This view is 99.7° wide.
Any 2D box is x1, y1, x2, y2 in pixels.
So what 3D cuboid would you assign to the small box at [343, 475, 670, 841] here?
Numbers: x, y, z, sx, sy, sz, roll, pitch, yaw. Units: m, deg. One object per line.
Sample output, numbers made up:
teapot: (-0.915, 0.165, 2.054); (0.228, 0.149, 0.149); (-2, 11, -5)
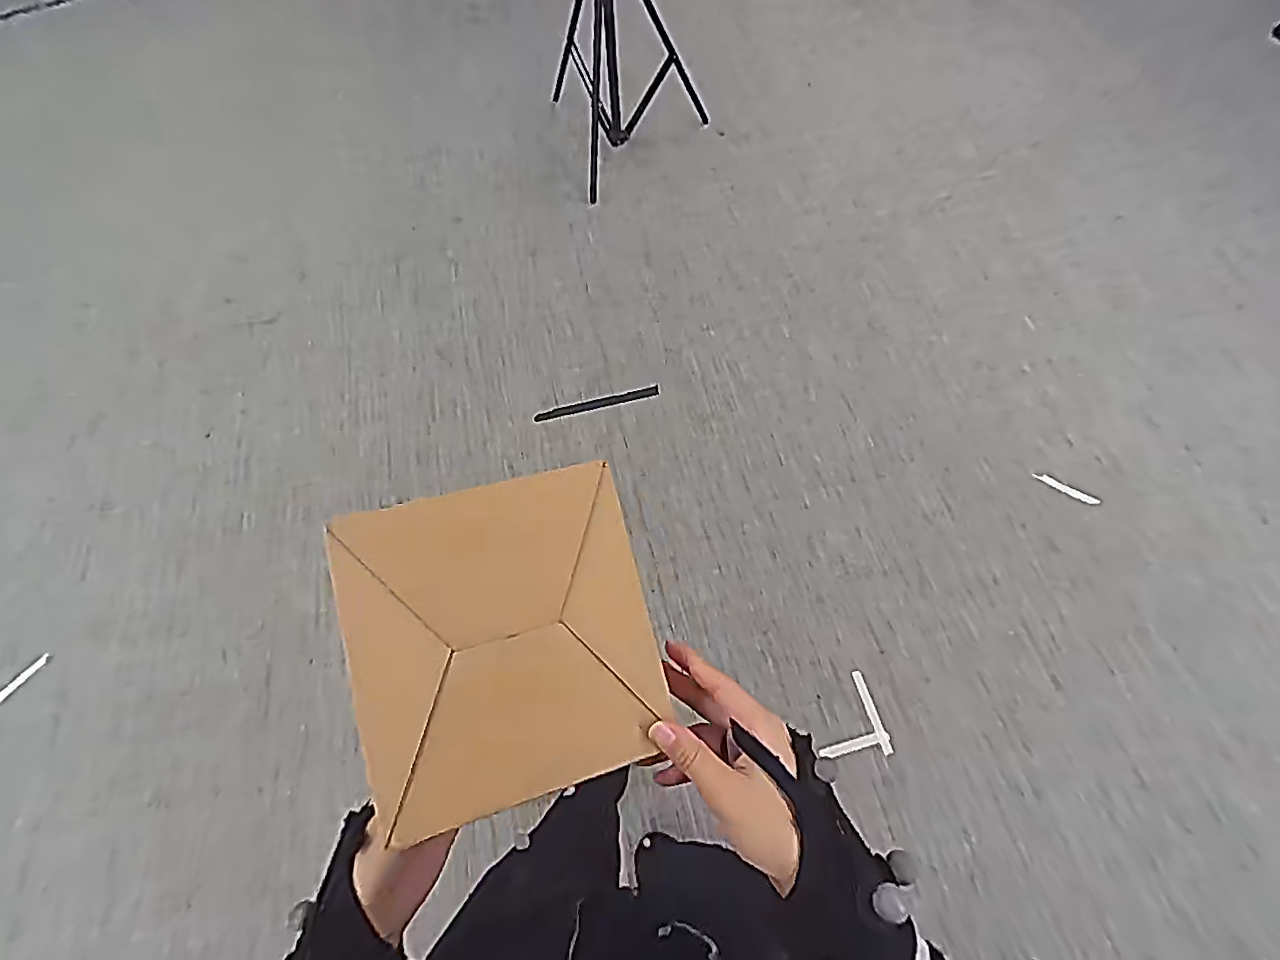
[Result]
small box: (-0.091, 0.106, 0.385); (0.168, 0.176, 0.179); (-13, 81, -14)
